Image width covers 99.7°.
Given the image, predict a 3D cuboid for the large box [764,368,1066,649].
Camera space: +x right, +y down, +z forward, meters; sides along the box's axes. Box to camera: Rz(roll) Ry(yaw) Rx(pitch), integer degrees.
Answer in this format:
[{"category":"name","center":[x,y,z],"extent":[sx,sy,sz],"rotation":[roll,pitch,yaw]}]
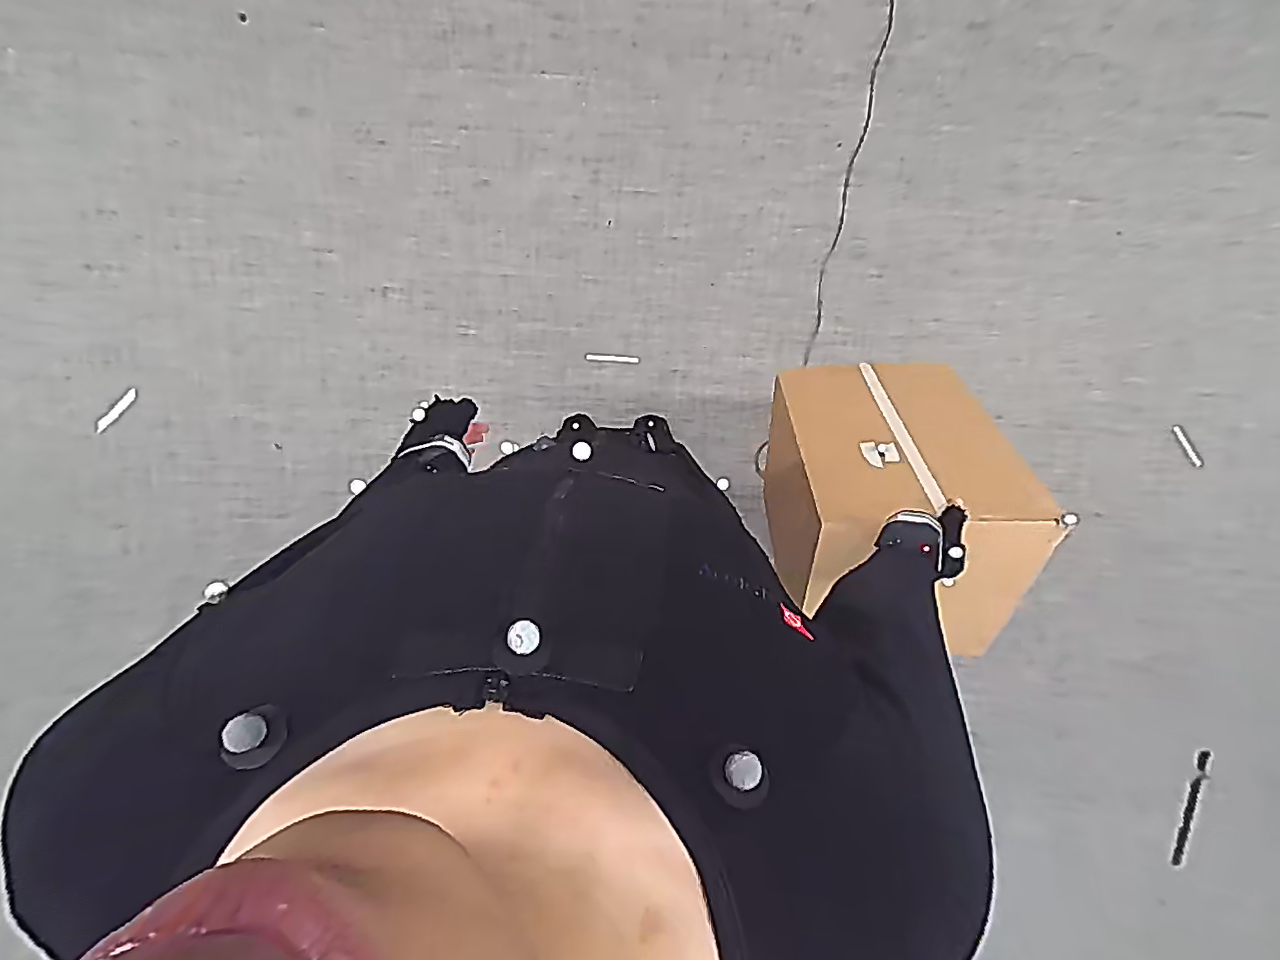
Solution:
[{"category":"large box","center":[0.415,0.040,0.955],"extent":[0.320,0.408,0.320],"rotation":[-2,132,4]}]
